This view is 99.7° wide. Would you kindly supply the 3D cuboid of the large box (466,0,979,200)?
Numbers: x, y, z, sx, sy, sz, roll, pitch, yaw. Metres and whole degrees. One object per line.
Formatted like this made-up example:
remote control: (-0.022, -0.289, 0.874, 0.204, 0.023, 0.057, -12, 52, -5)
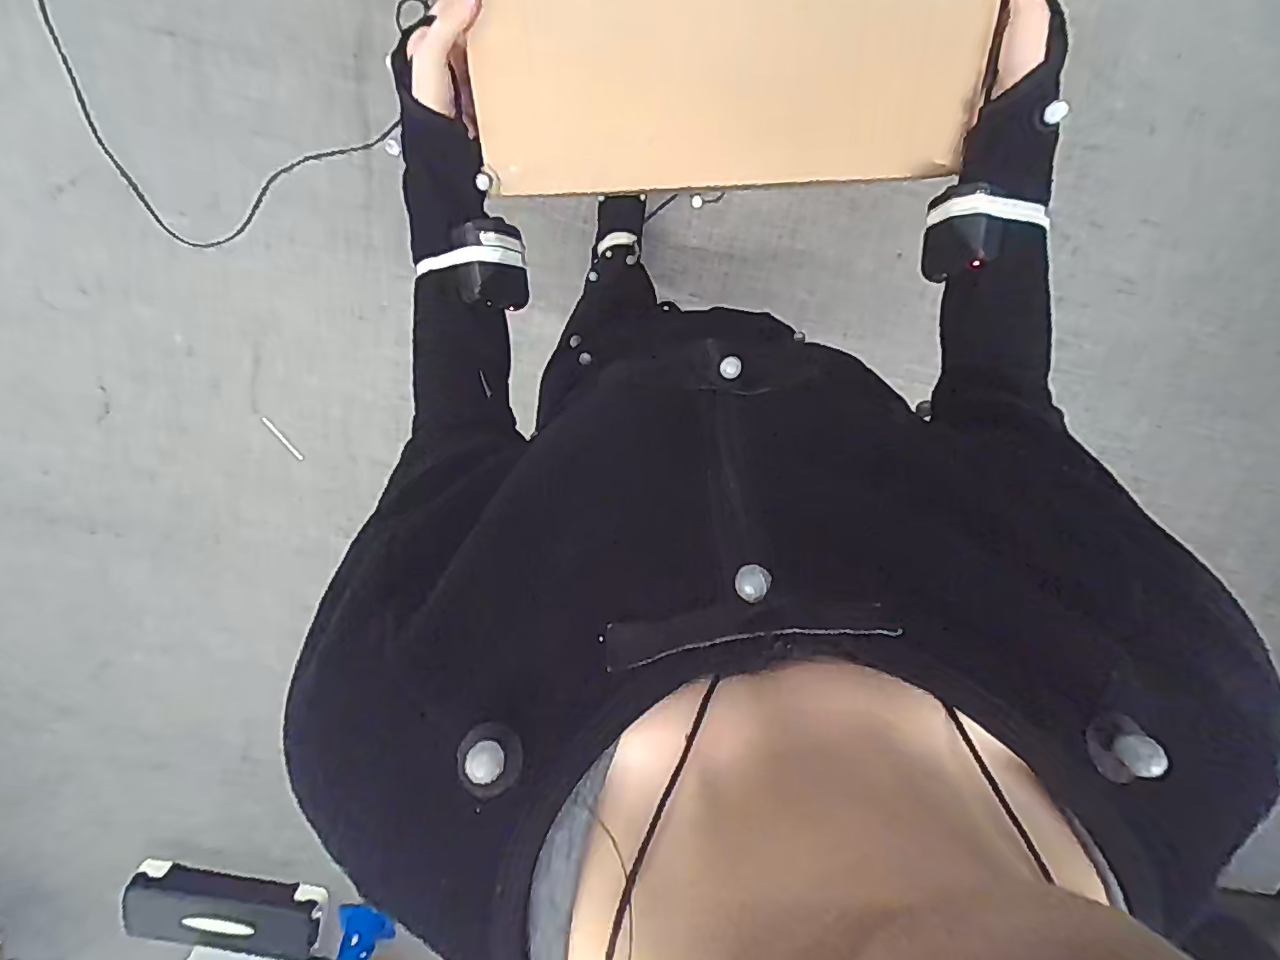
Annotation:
large box: (0.059, -0.461, 0.531, 0.408, 0.320, 0.320, -4, 116, -1)
